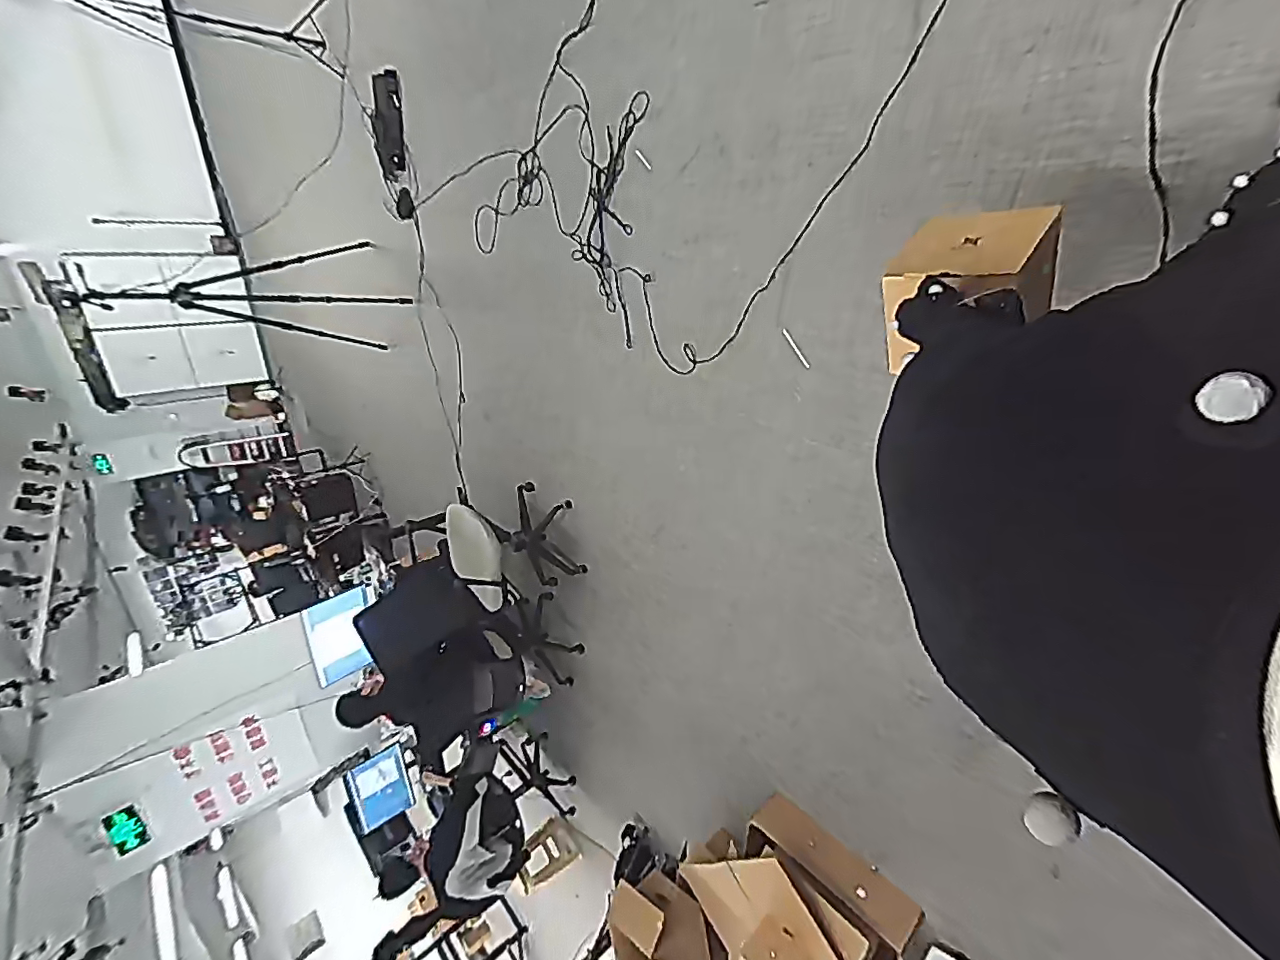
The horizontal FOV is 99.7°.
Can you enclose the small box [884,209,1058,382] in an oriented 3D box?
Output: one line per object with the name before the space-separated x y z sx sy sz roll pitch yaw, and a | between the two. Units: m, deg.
small box | 0.480 -0.269 0.794 0.168 0.179 0.176 19 147 43
